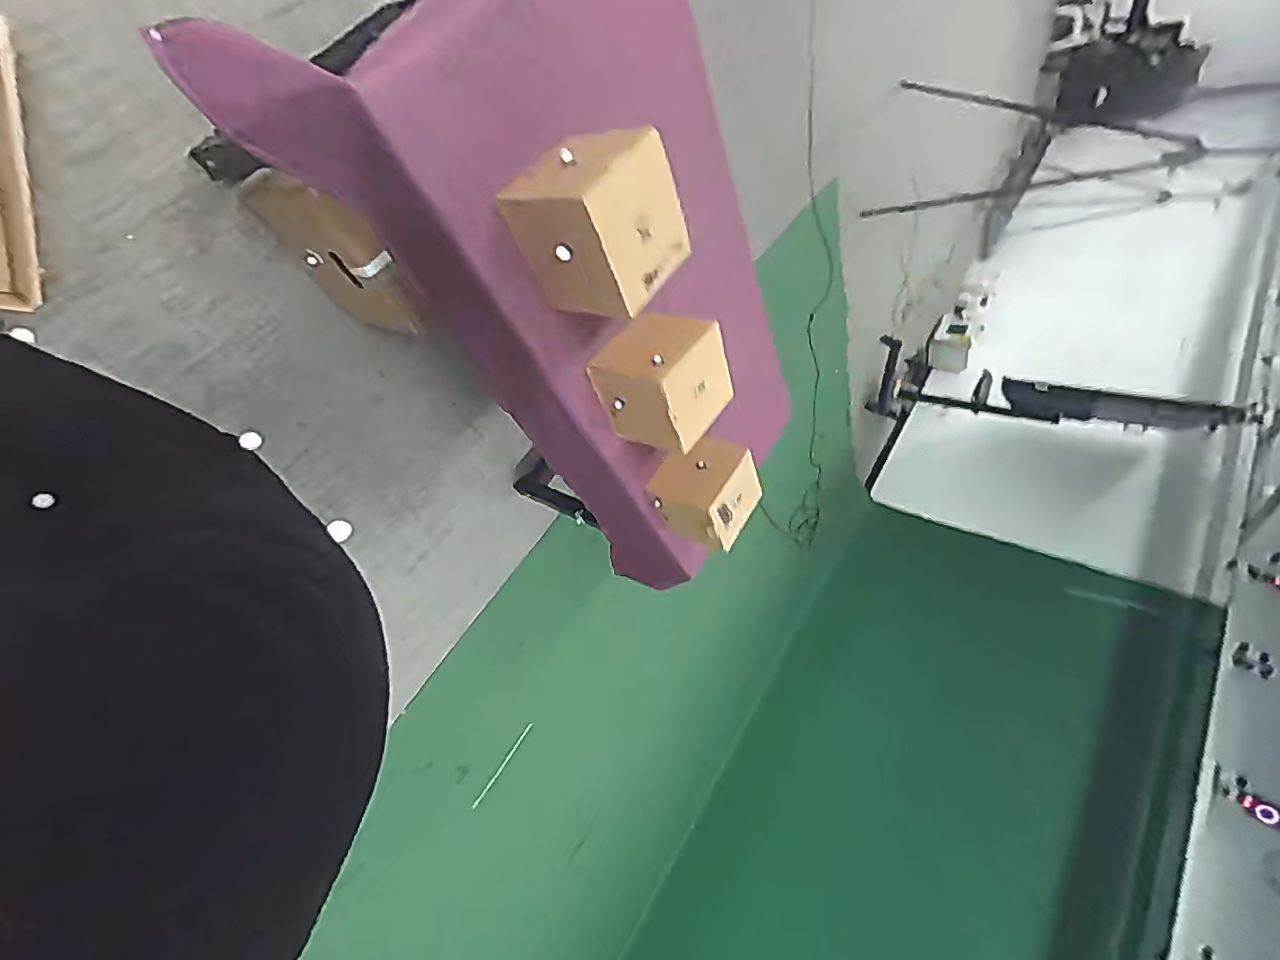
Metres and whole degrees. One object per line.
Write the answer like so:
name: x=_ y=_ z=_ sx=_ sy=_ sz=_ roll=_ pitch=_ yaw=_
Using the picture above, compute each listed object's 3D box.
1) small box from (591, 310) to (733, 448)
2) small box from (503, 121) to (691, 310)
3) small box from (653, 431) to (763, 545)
small box: x=0.043 y=-0.190 z=0.981 sx=0.179 sy=0.176 sz=0.168 roll=-49 pitch=139 yaw=-25
small box: x=-0.059 y=-0.365 z=0.763 sx=0.168 sy=0.176 sz=0.179 roll=-53 pitch=140 yaw=-21
small box: x=0.147 y=0.011 z=1.209 sx=0.179 sy=0.176 sz=0.168 roll=-54 pitch=141 yaw=-22
